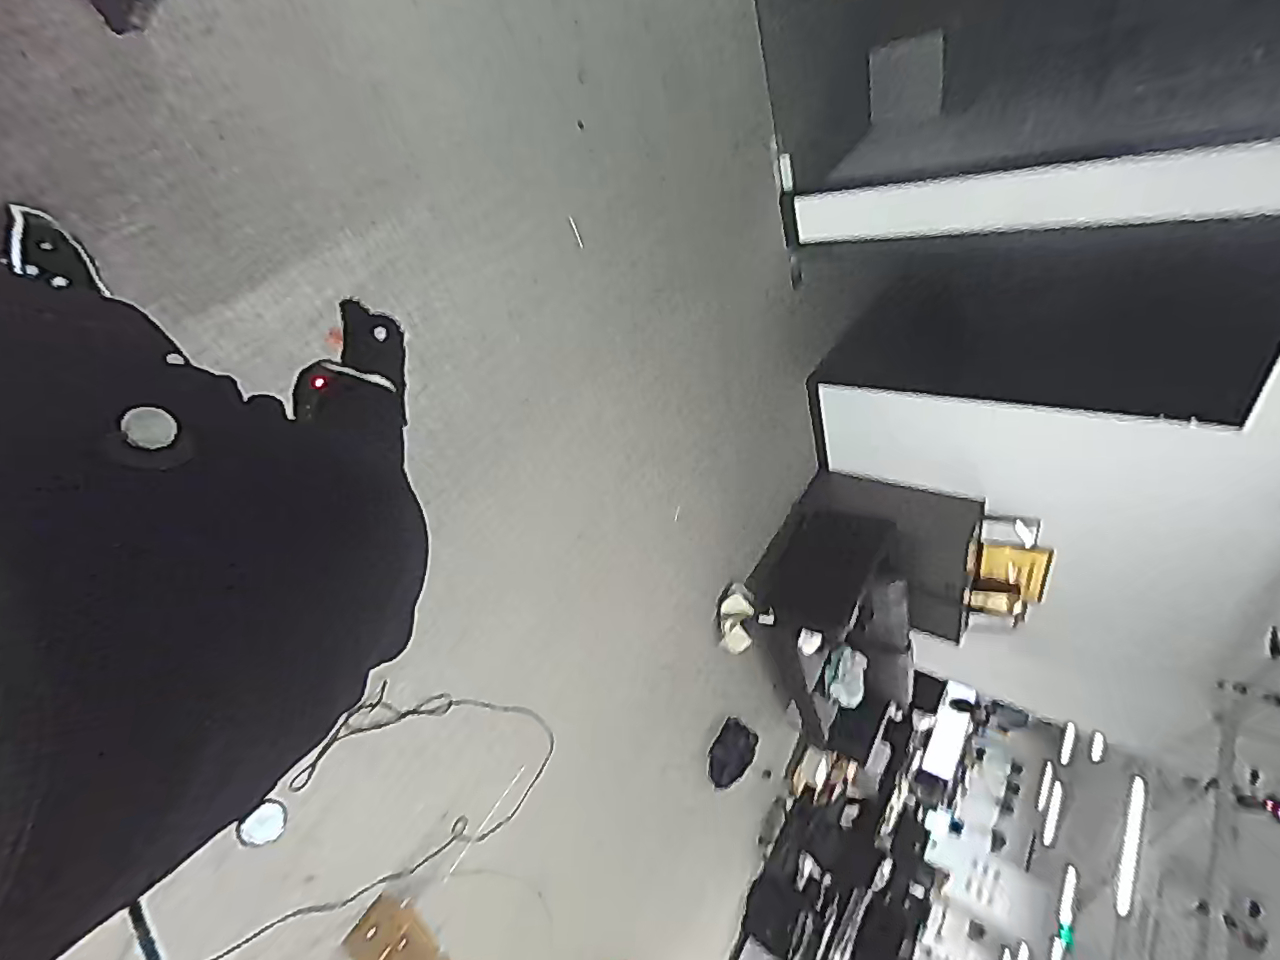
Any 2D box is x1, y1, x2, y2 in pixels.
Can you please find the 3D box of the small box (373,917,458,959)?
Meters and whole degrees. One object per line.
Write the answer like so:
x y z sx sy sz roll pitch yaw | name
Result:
-0.735 1.563 1.743 0.168 0.176 0.179 -49 137 -29 | small box

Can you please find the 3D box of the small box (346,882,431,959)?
-0.861 1.520 1.844 0.168 0.176 0.179 -49 134 -25 | small box

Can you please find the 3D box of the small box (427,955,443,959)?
-0.616 1.603 1.639 0.168 0.176 0.179 -44 133 -33 | small box
